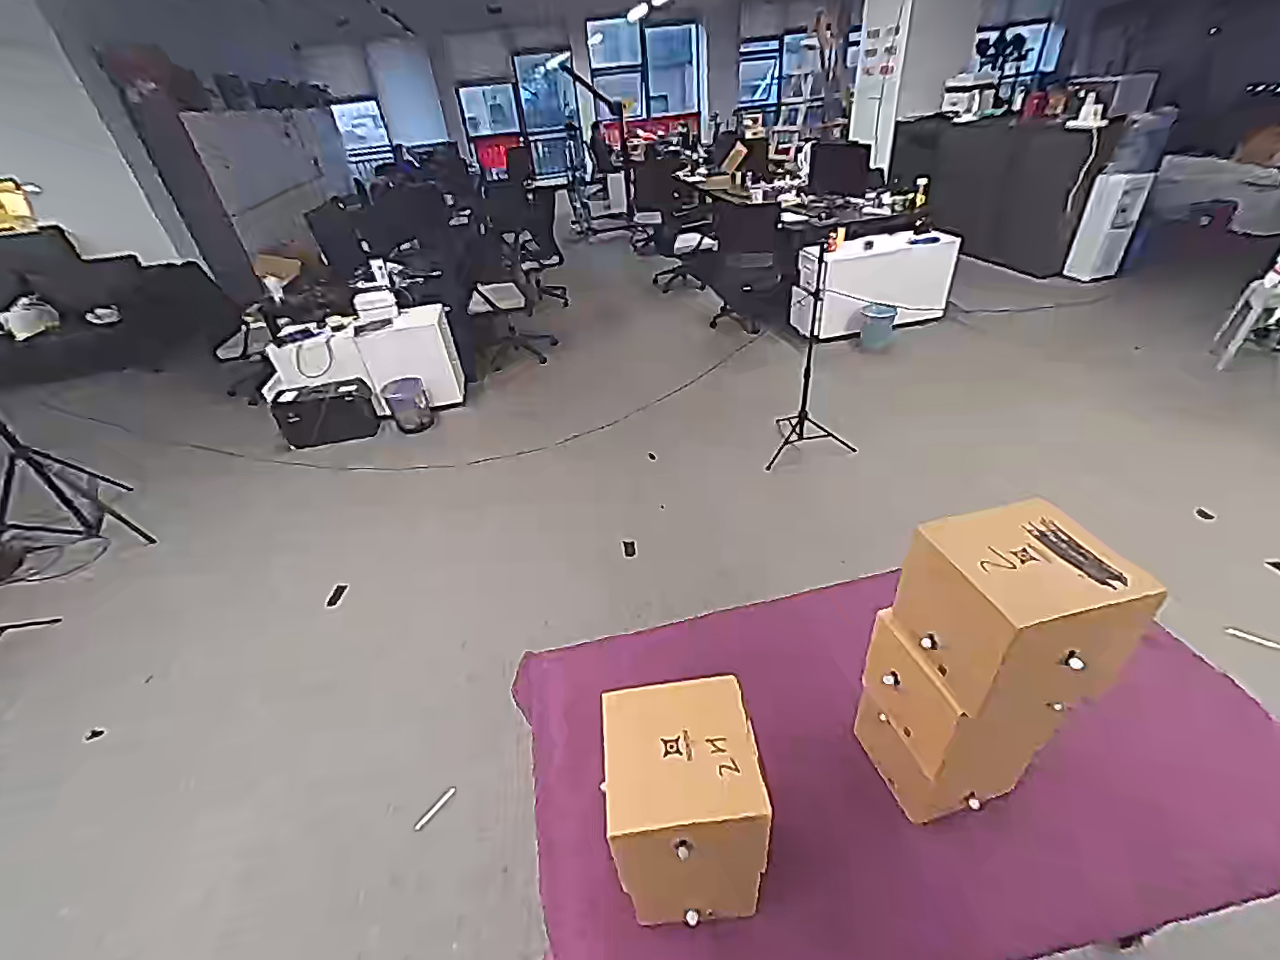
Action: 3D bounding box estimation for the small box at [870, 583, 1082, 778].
[{"bbox_3d":[0.440,0.275,0.745,0.179,0.176,0.168,-12,36,-9],"label":"small box"}]

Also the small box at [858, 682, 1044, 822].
[{"bbox_3d":[0.471,0.397,0.851,0.179,0.176,0.168,-12,35,-9],"label":"small box"}]

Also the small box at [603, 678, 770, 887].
[{"bbox_3d":[0.053,0.373,0.667,0.179,0.176,0.168,-7,37,-1],"label":"small box"}]

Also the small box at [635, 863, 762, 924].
[{"bbox_3d":[0.072,0.498,0.774,0.168,0.176,0.179,-6,37,1],"label":"small box"}]
